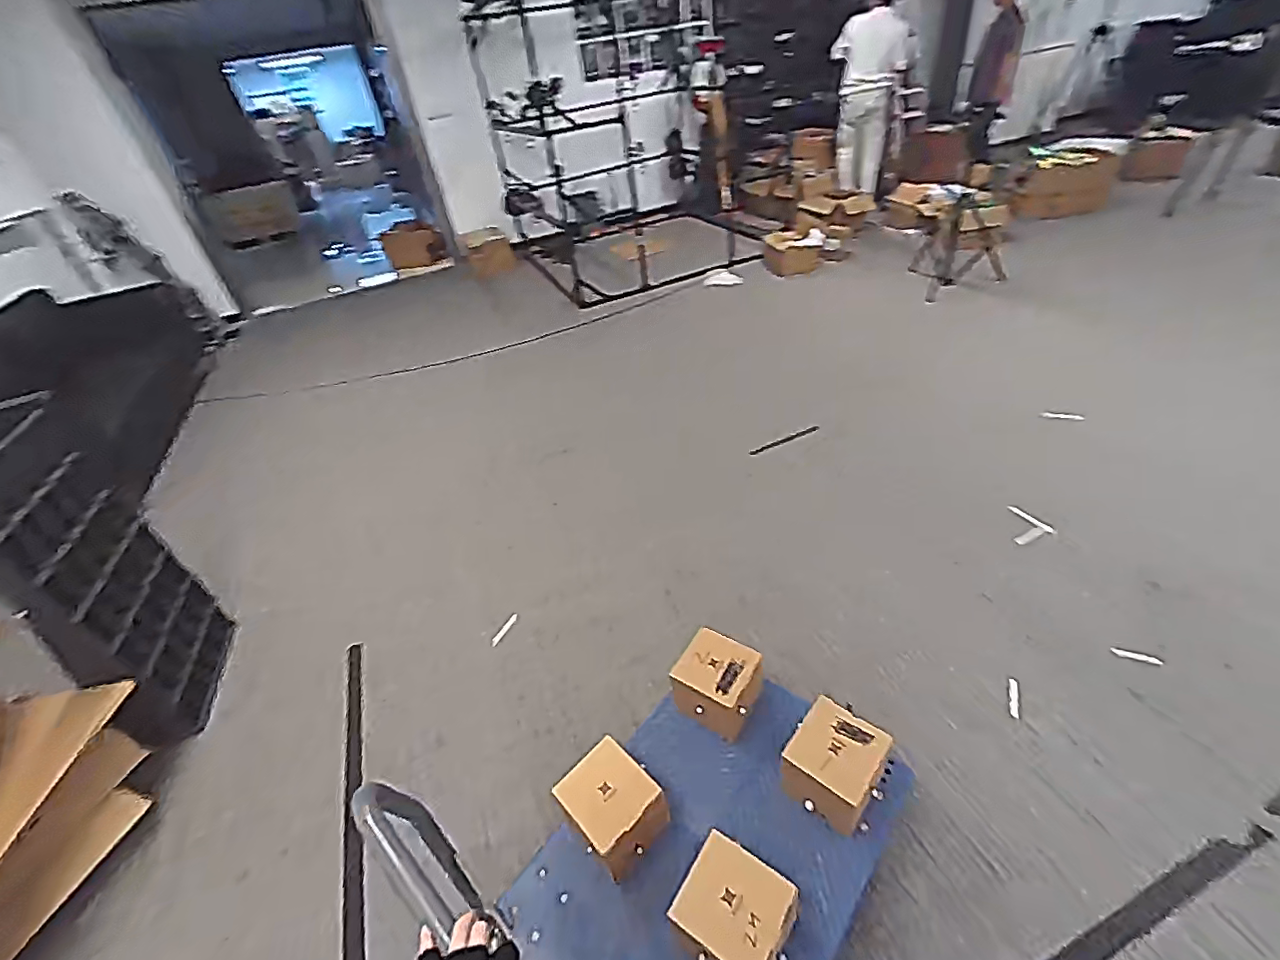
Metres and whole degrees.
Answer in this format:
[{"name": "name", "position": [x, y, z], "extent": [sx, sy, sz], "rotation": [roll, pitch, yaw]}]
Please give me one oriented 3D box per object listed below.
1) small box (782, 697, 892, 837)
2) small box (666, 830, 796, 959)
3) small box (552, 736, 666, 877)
[{"name": "small box", "position": [0.422, 0.624, 1.178], "extent": [0.168, 0.176, 0.179], "rotation": [24, 50, 36]}, {"name": "small box", "position": [0.170, 0.806, 0.998], "extent": [0.179, 0.176, 0.168], "rotation": [19, 46, 33]}, {"name": "small box", "position": [-0.063, 0.711, 1.176], "extent": [0.168, 0.176, 0.179], "rotation": [-35, 45, -29]}]
